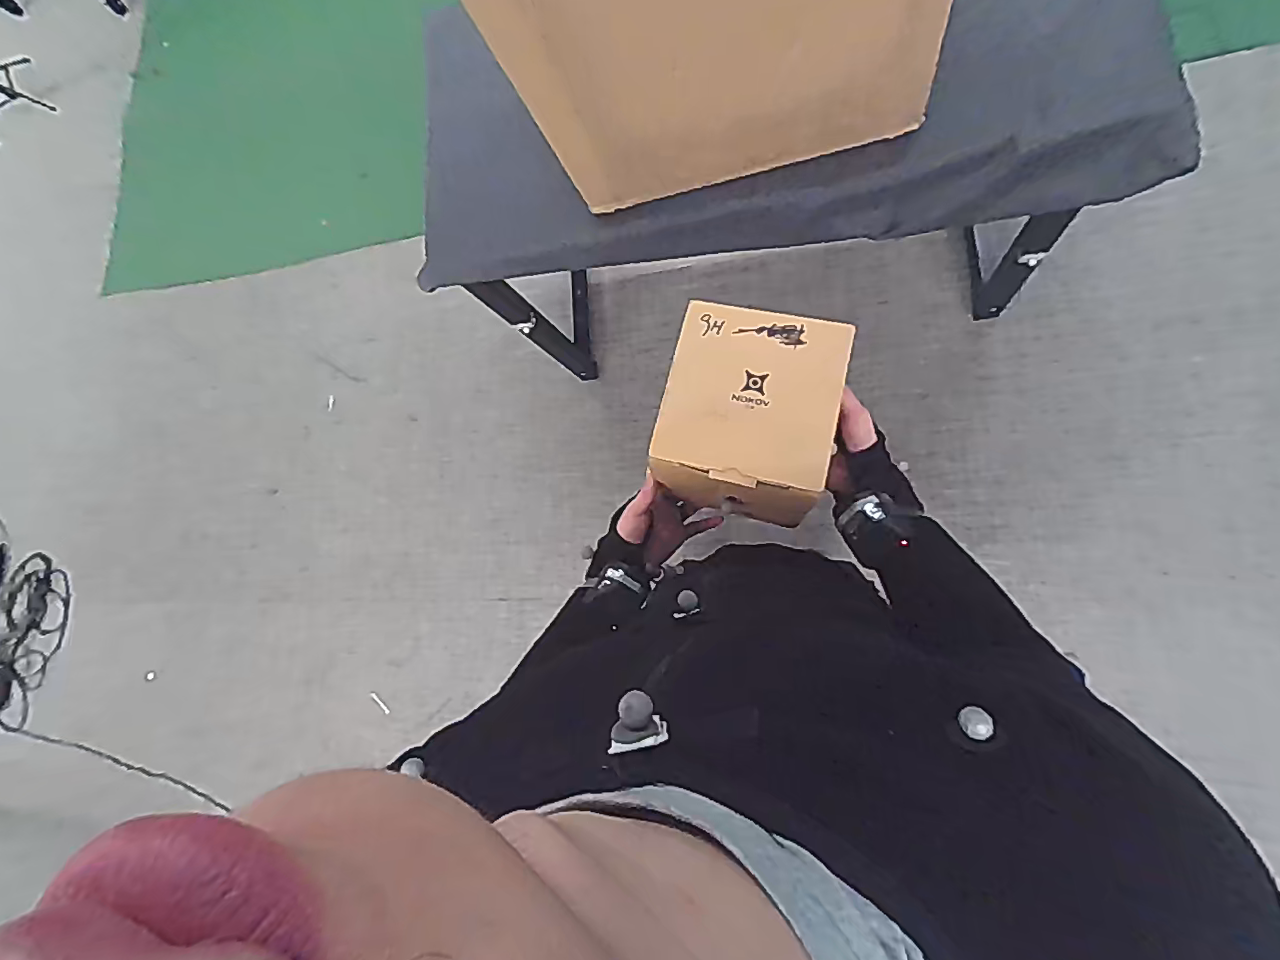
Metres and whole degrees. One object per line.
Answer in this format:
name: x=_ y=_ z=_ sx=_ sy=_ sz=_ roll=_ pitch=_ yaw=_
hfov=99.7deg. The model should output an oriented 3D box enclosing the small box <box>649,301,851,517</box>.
small box: x=0.118 y=-0.067 z=0.598 sx=0.168 sy=0.176 sz=0.179 roll=12 pitch=78 yaw=11
